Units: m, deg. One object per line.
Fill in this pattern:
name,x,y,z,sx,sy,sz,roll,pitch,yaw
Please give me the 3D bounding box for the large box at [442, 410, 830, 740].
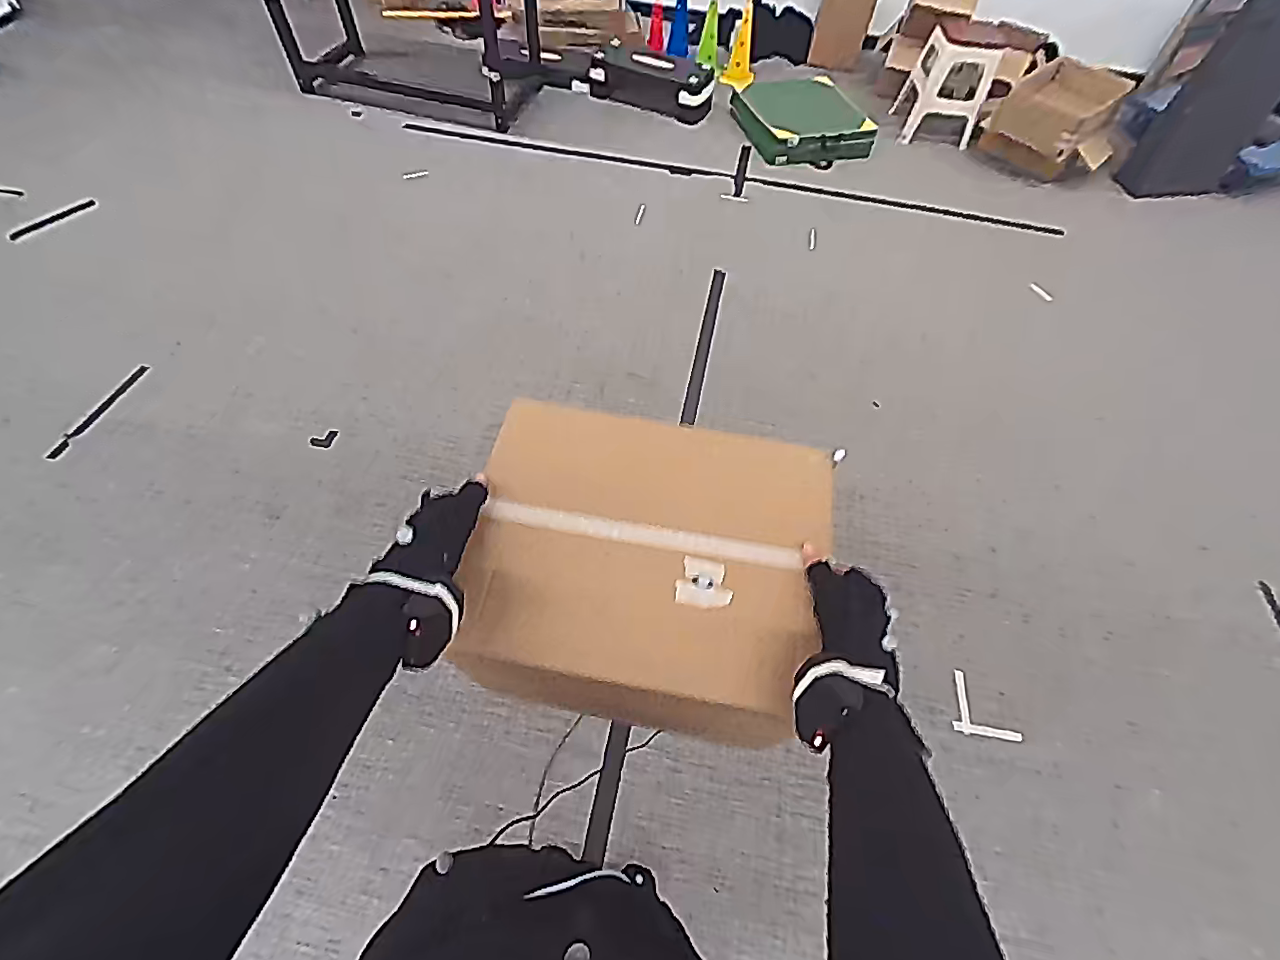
large box,0.009,0.143,0.741,0.408,0.320,0.320,10,61,3
